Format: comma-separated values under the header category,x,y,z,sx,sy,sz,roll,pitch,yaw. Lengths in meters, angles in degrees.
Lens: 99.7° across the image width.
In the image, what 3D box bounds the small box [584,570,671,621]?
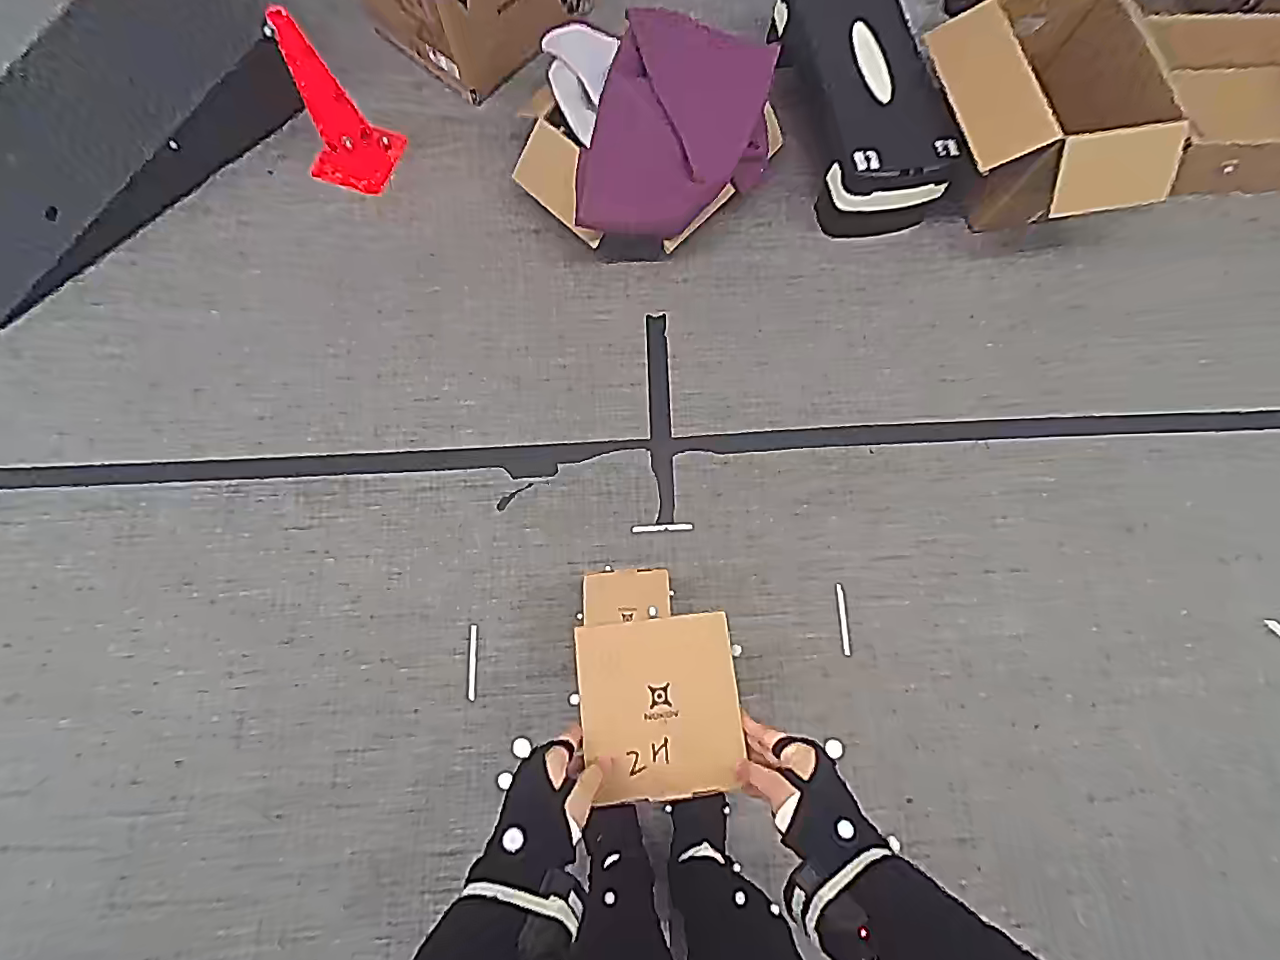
category,x,y,z,sx,sy,sz,roll,pitch,yaw
small box,-0.026,0.278,1.084,0.168,0.176,0.179,-2,77,-2

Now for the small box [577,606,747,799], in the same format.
category,x,y,z,sx,sy,sz,roll,pitch,yaw
small box,0.020,0.250,0.642,0.168,0.176,0.179,-6,76,-1
